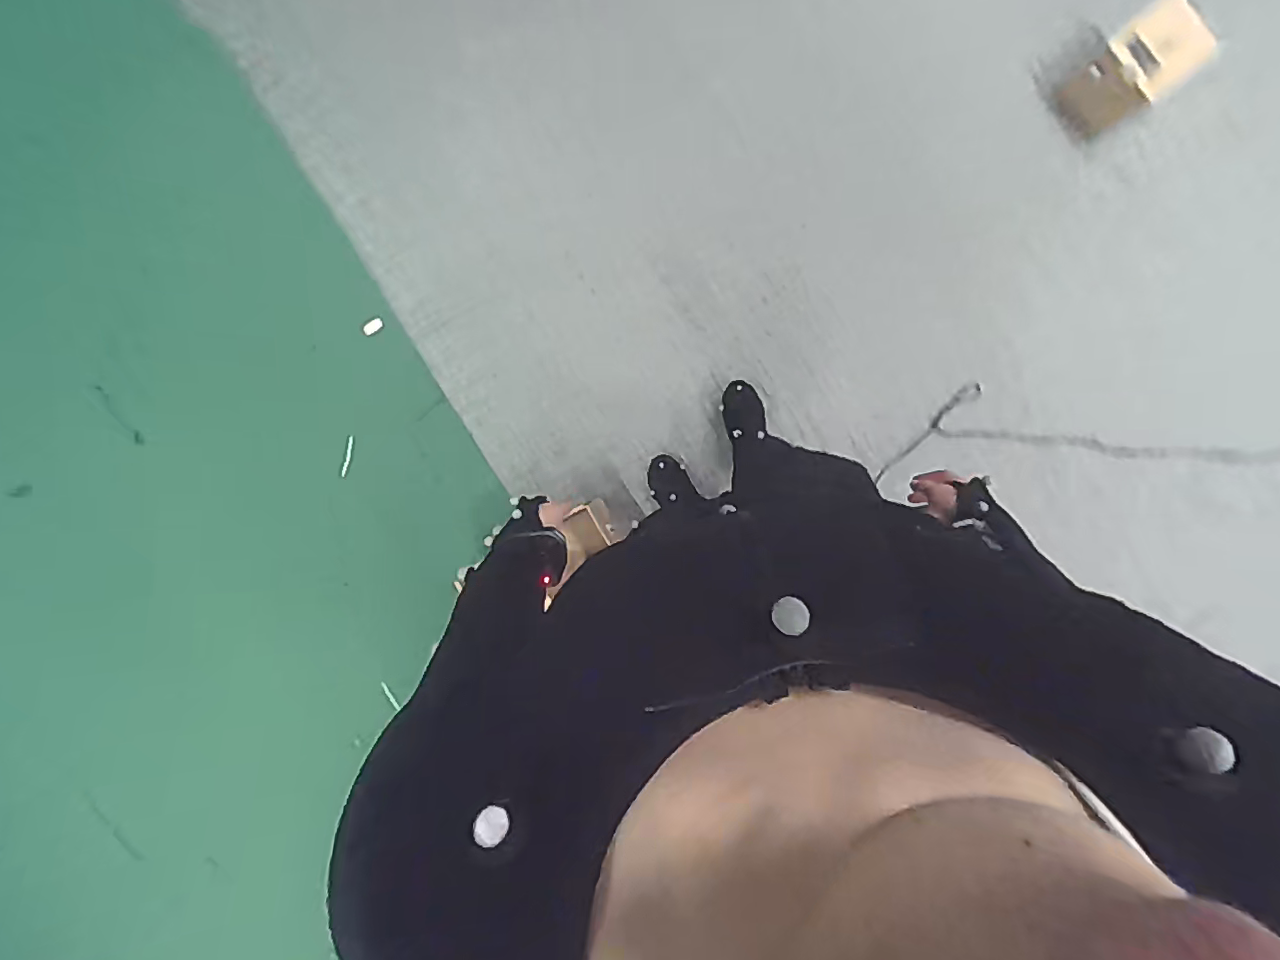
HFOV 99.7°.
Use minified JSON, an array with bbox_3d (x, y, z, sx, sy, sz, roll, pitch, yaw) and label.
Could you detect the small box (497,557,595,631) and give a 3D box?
[{"bbox_3d":[-0.234,0.319,1.391,0.179,0.176,0.168,-27,93,5],"label":"small box"}]
